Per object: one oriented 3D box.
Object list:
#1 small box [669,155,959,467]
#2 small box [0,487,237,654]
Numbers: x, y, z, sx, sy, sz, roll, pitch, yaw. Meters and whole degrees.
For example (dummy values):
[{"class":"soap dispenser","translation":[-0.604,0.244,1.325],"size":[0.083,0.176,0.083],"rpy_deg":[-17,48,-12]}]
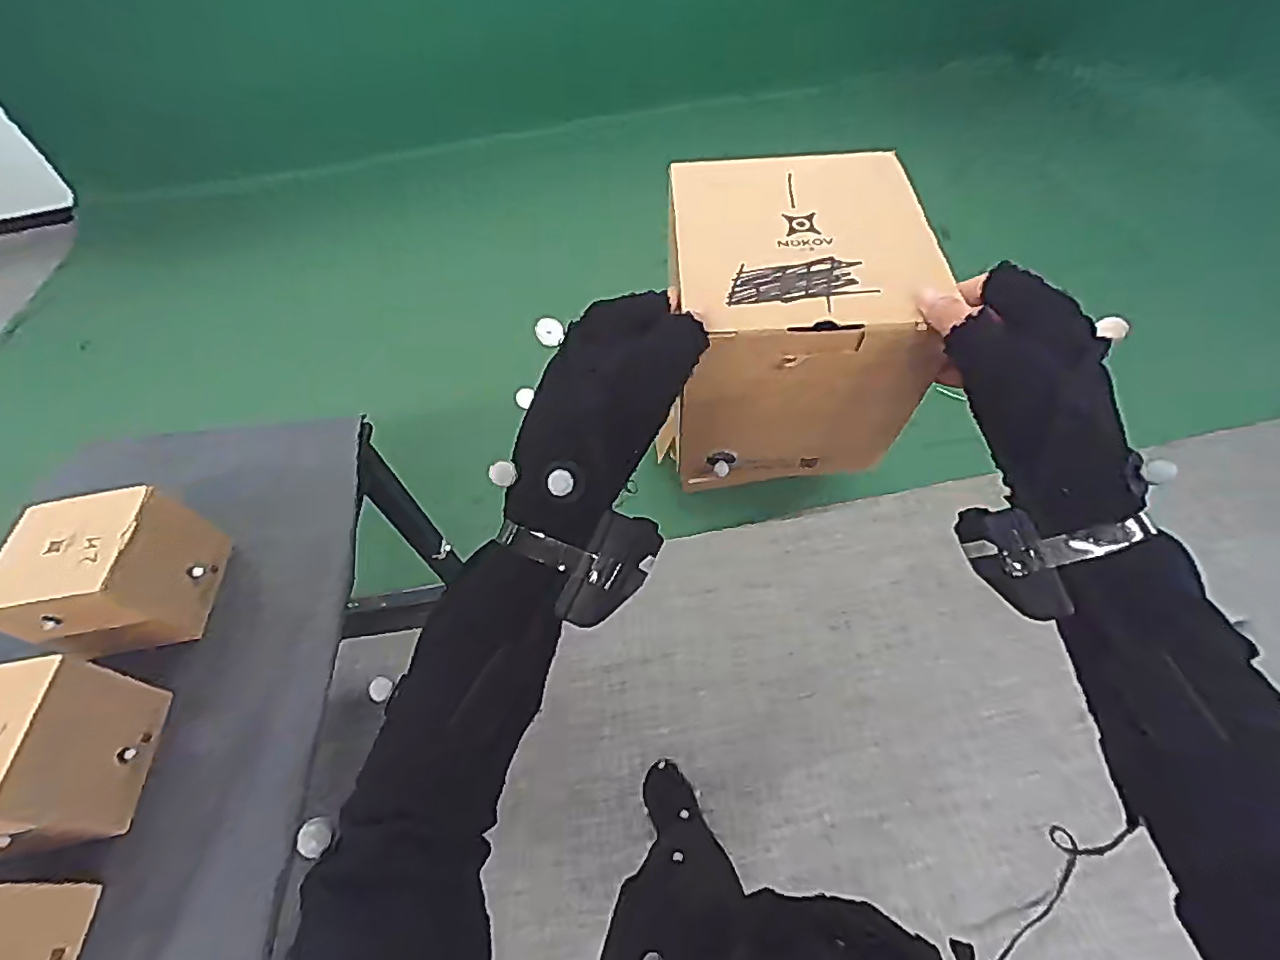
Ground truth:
[{"class":"small box","translation":[0.109,-0.120,0.426],"size":[0.168,0.176,0.179],"rpy_deg":[-2,58,2]},{"class":"small box","translation":[-0.741,0.136,0.778],"size":[0.179,0.176,0.168],"rpy_deg":[-10,54,-1]}]
